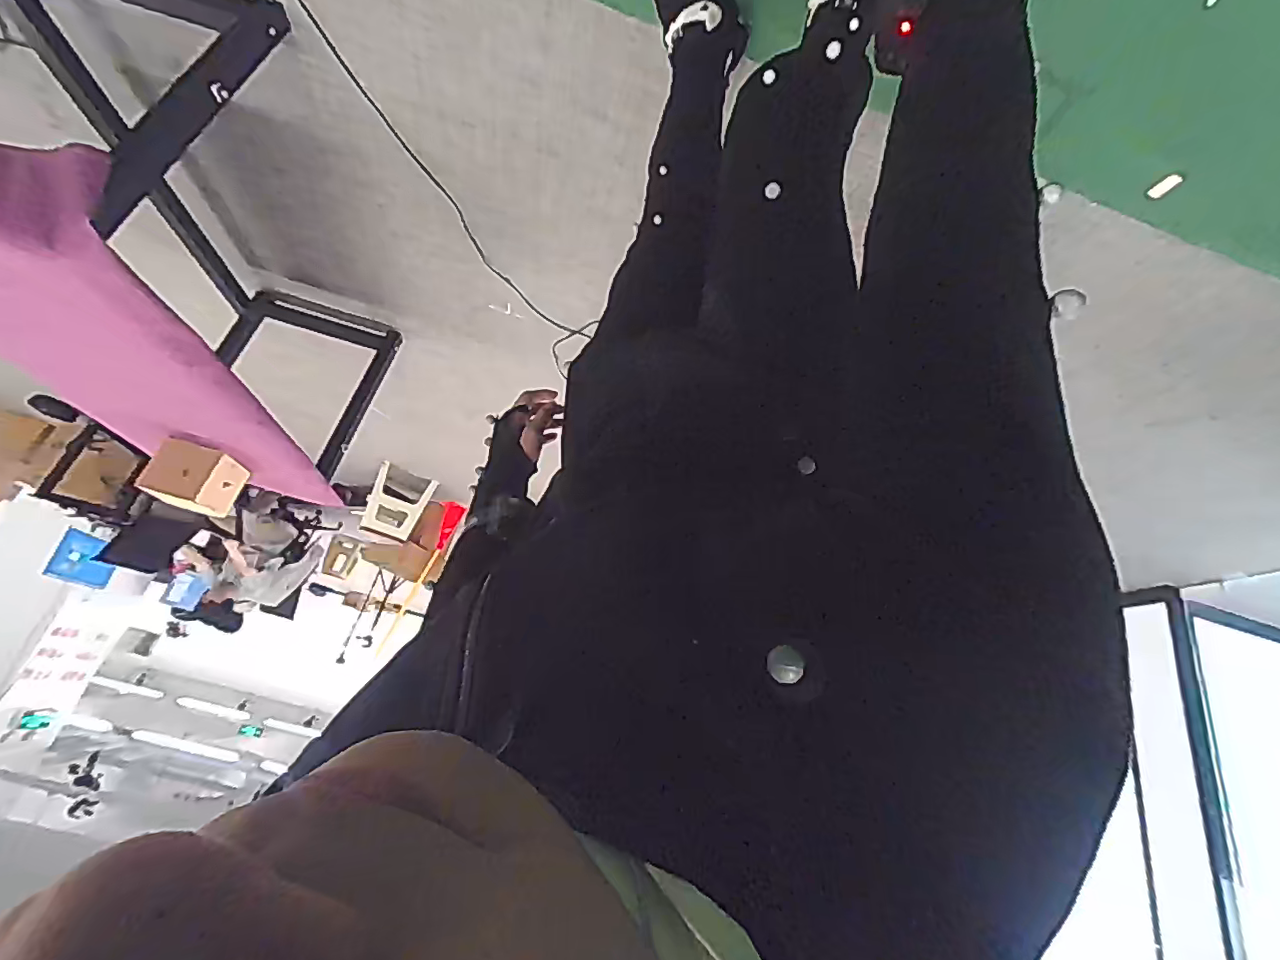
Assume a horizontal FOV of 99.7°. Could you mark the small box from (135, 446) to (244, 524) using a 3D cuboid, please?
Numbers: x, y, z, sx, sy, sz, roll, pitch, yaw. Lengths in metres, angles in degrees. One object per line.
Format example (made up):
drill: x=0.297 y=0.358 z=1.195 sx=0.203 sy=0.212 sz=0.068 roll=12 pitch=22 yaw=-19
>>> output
small box: x=-1.360 y=0.013 z=1.656 sx=0.179 sy=0.176 sz=0.168 roll=15 pitch=155 yaw=-4
